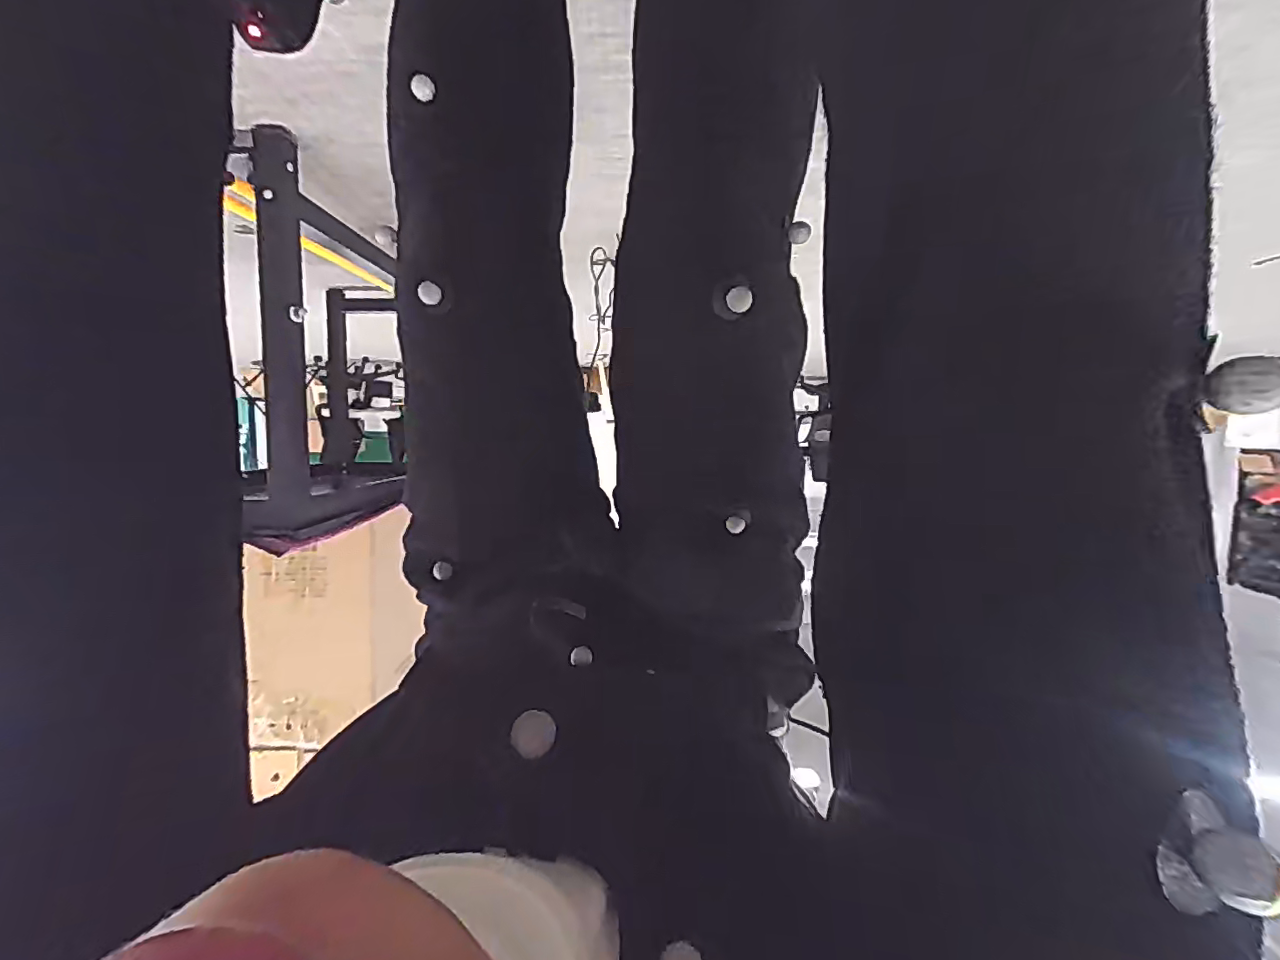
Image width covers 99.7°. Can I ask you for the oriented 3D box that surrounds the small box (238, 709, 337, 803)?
[{"bbox_3d":[-0.976,0.760,1.502,0.168,0.176,0.179,2,-173,4],"label":"small box"}]
